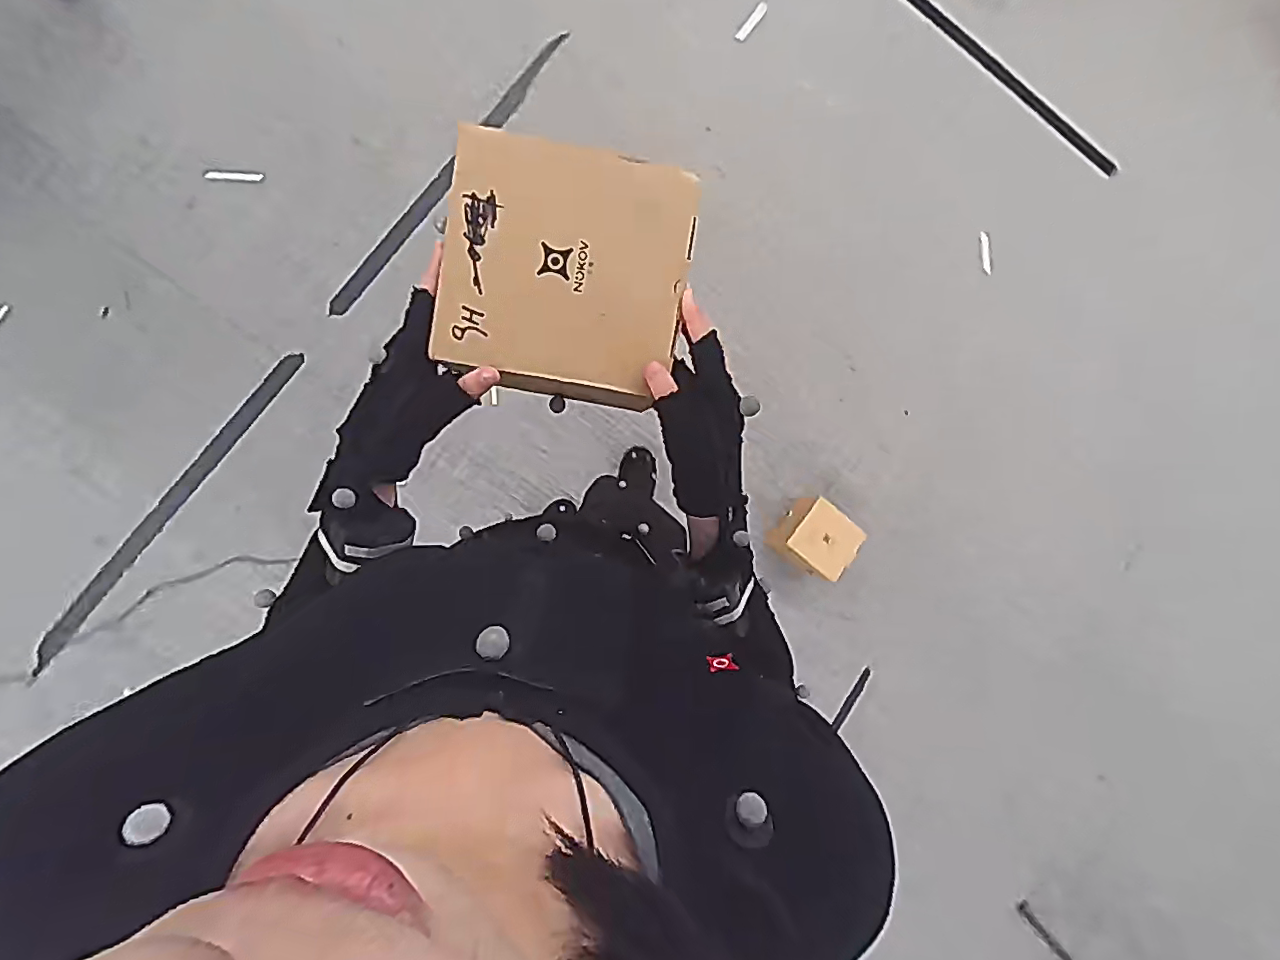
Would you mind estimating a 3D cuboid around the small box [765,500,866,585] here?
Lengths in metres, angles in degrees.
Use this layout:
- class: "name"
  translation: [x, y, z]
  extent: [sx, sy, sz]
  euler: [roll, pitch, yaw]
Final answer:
- class: "small box"
  translation: [0.488, 0.170, 1.525]
  extent: [0.179, 0.176, 0.168]
  euler: [39, 82, -3]
